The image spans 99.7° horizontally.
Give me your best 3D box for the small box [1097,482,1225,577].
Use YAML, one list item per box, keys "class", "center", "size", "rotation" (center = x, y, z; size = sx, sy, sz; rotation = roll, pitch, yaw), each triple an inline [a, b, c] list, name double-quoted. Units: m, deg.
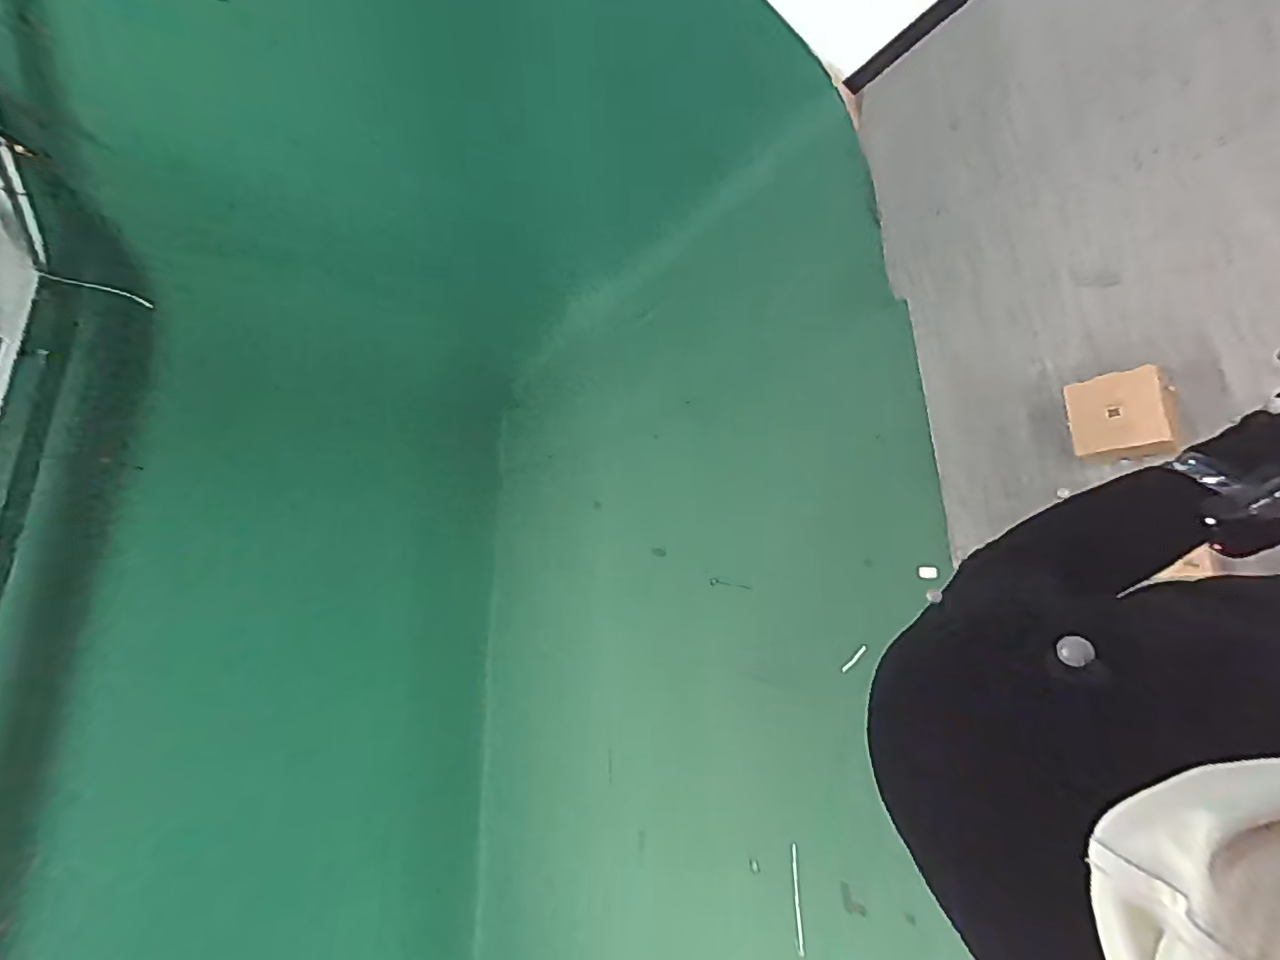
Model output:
- class: "small box"
  center: [1.141, 0.116, 1.187]
  size: [0.168, 0.176, 0.179]
  rotation: [-17, 67, 49]
